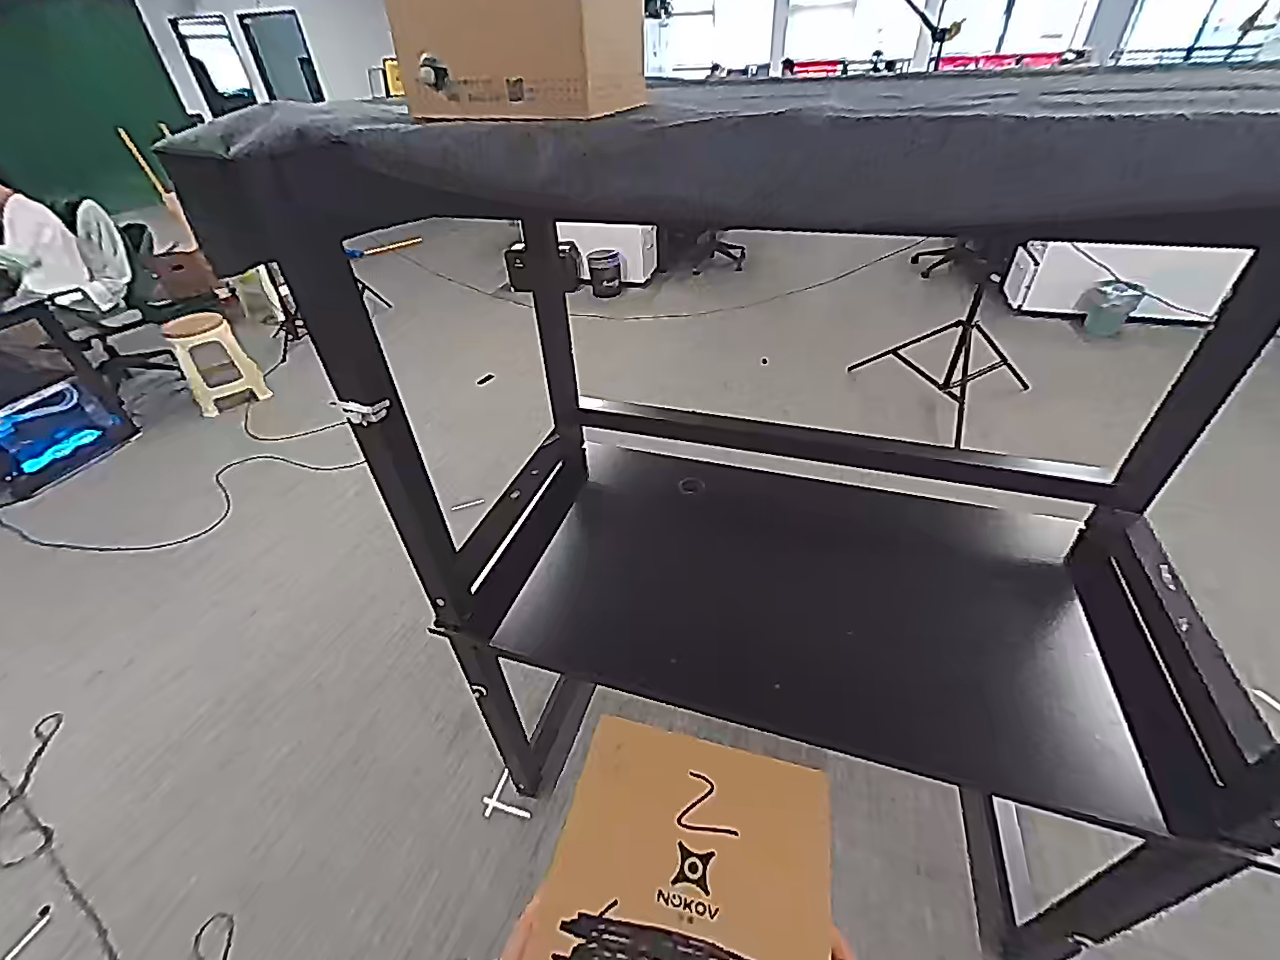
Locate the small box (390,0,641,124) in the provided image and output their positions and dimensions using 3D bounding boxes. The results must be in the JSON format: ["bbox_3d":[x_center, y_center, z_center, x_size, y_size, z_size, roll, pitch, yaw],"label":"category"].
[{"bbox_3d":[-0.096,-0.409,0.462,0.168,0.176,0.179,9,38,12],"label":"small box"}]
